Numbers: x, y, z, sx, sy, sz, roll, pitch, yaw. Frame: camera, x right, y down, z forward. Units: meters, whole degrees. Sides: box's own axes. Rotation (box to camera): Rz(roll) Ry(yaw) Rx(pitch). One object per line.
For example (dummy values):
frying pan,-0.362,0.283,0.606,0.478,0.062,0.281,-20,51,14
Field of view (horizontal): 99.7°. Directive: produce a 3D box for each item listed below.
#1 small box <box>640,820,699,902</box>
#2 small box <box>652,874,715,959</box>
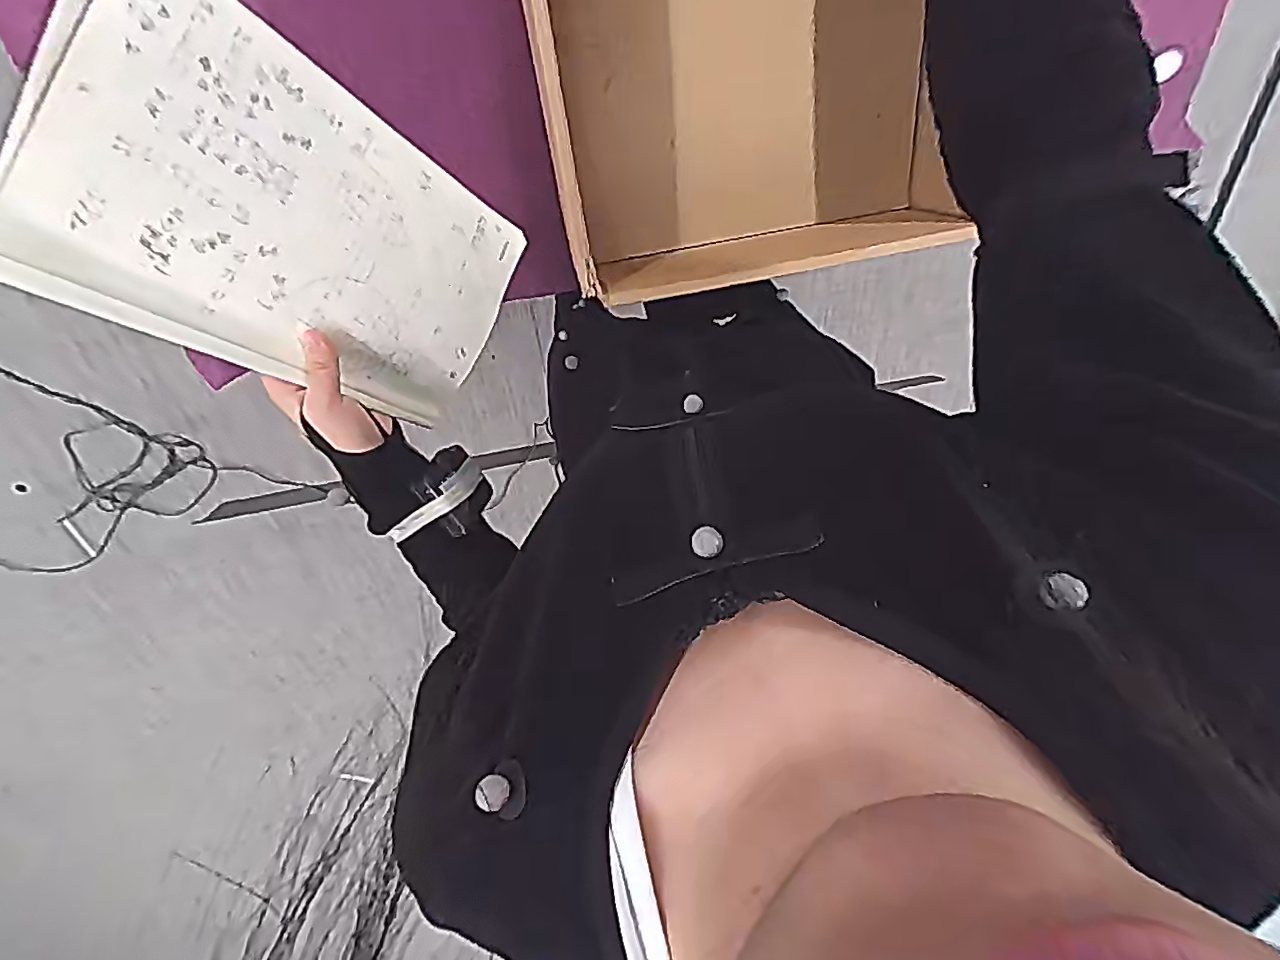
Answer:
small box,0.099,1.339,1.906,0.179,0.176,0.168,-10,125,-10
small box,0.137,1.439,1.779,0.168,0.176,0.179,-7,125,-10
